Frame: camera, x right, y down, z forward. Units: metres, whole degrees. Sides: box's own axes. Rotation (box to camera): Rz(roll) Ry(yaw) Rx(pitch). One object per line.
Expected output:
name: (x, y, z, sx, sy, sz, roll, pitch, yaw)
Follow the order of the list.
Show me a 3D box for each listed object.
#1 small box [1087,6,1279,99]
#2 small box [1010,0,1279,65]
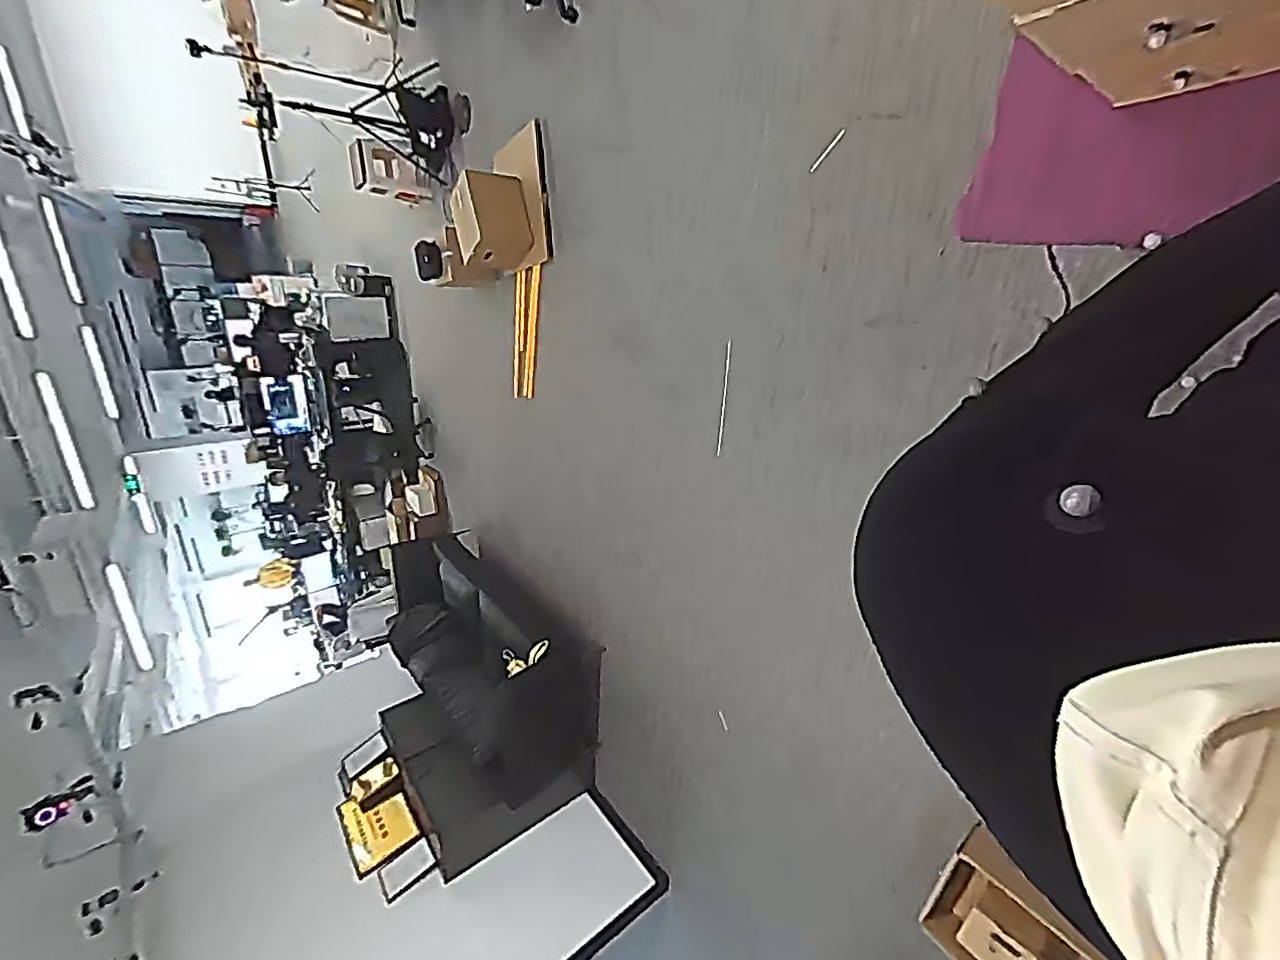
small box: (0.564, -0.510, 0.526, 0.168, 0.176, 0.179, 19, 117, 48)
small box: (0.432, -0.480, 0.433, 0.168, 0.176, 0.179, 18, 116, 49)
